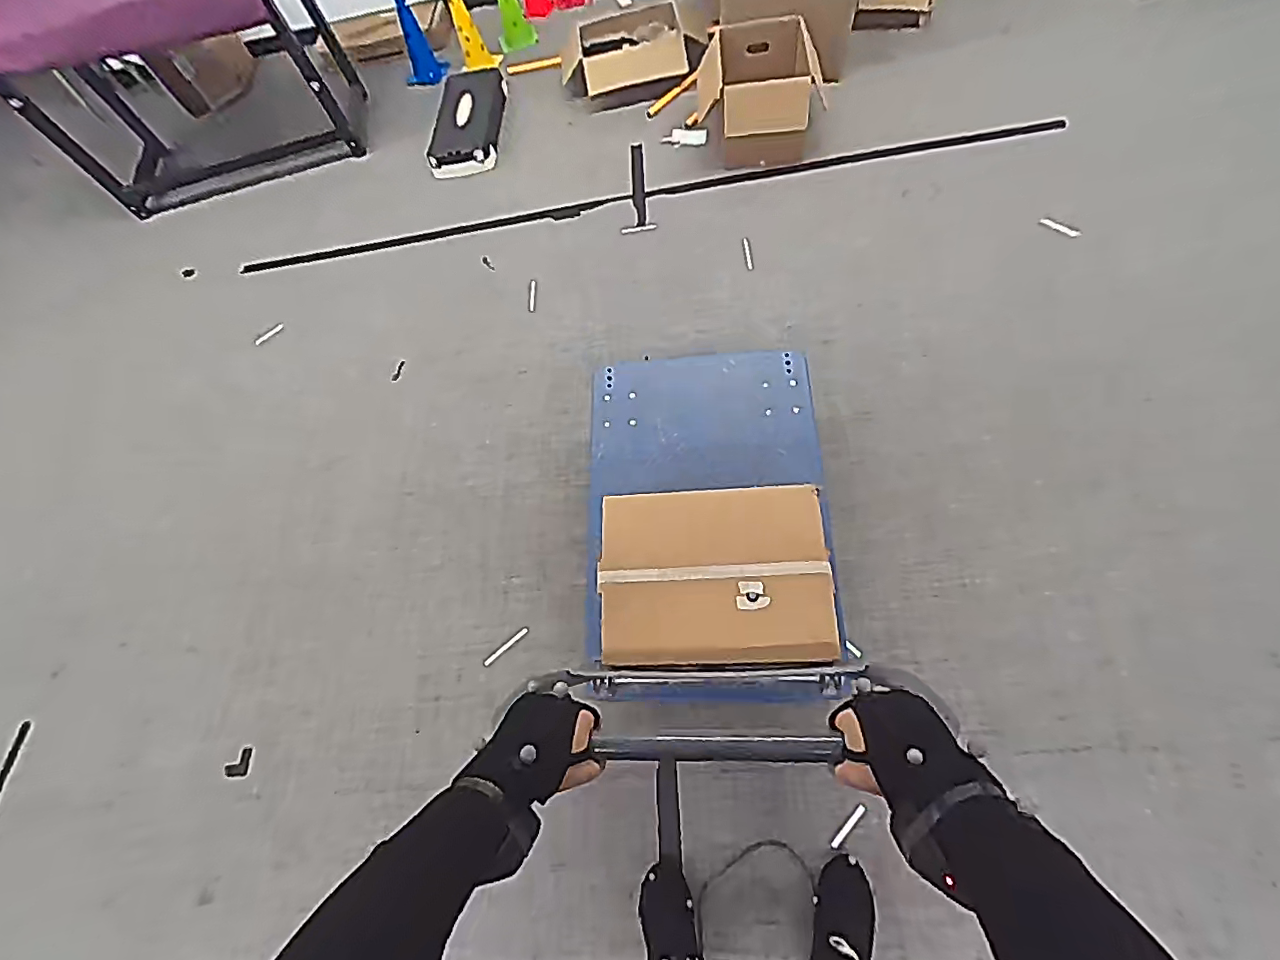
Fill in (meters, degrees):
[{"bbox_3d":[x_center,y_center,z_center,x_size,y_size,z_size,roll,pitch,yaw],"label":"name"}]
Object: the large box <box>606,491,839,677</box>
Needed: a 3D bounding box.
[{"bbox_3d":[0.152,0.232,1.119,0.408,0.320,0.320,-4,69,6],"label":"large box"}]
